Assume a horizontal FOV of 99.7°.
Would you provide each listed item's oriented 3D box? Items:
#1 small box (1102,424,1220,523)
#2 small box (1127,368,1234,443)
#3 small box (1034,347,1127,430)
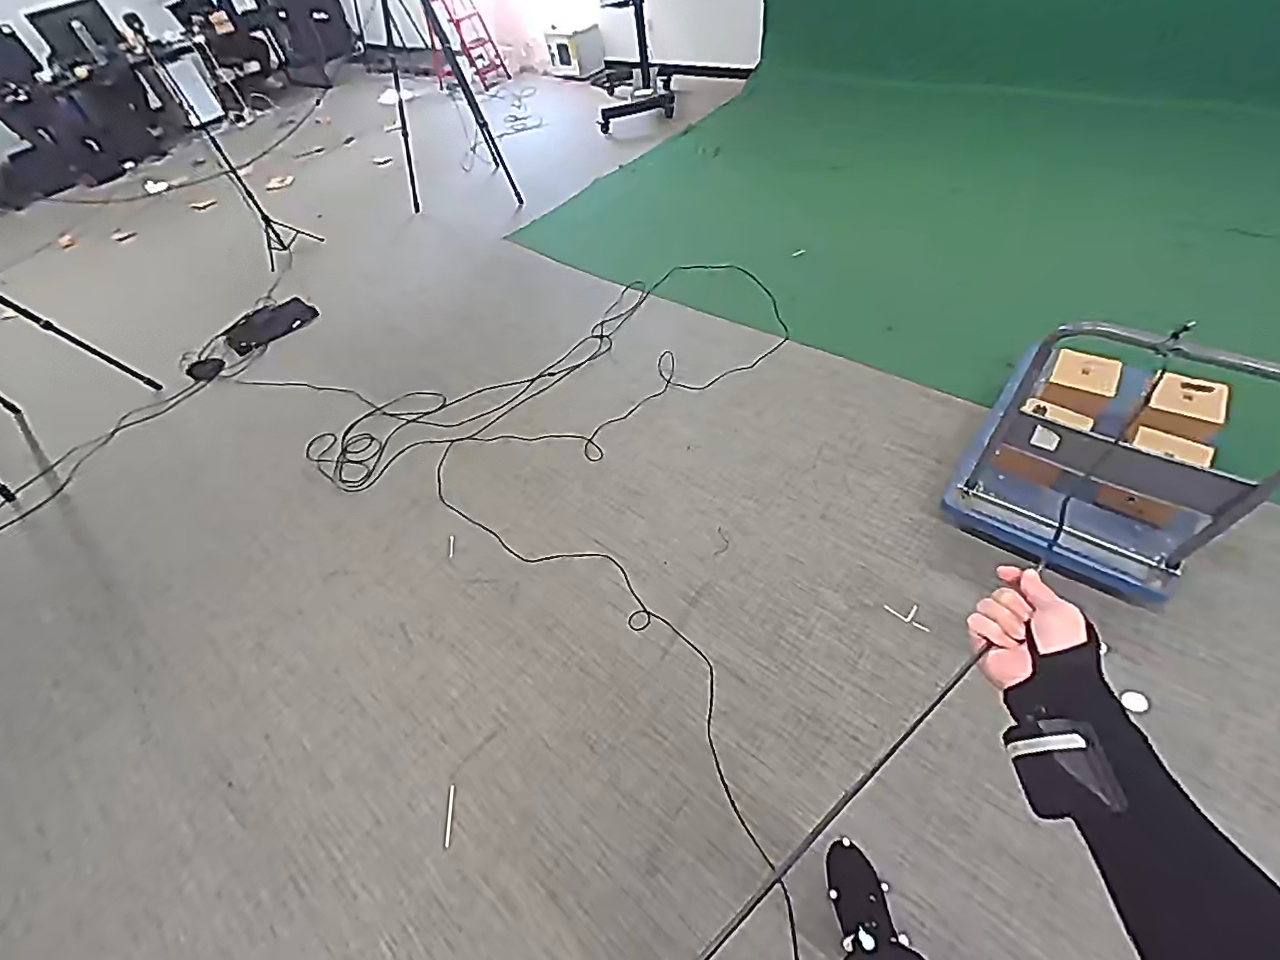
[{"bbox_3d":[1.430,-0.018,1.494,0.168,0.176,0.179,29,63,30],"label":"small box"},{"bbox_3d":[1.598,-0.198,1.605,0.168,0.176,0.179,24,61,28],"label":"small box"},{"bbox_3d":[1.394,-0.289,1.720,0.168,0.176,0.179,25,60,27],"label":"small box"}]
